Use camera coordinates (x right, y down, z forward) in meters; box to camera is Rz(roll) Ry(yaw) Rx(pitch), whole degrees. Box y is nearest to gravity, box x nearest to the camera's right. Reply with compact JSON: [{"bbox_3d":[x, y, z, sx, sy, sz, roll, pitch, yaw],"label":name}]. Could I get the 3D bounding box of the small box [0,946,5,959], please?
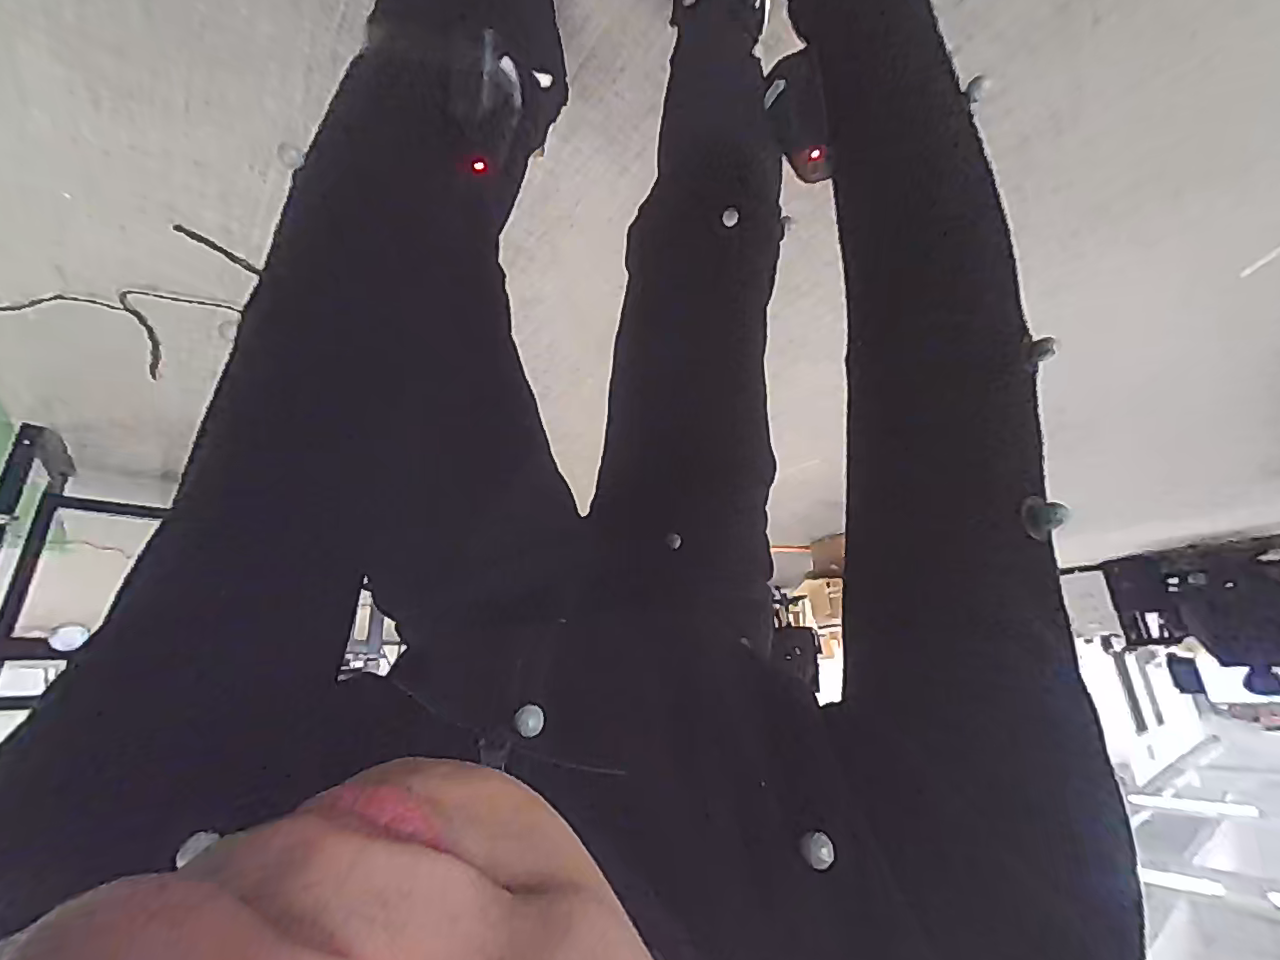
[{"bbox_3d":[-1.815,1.353,1.411,0.179,0.176,0.168,15,152,-40],"label":"small box"}]
